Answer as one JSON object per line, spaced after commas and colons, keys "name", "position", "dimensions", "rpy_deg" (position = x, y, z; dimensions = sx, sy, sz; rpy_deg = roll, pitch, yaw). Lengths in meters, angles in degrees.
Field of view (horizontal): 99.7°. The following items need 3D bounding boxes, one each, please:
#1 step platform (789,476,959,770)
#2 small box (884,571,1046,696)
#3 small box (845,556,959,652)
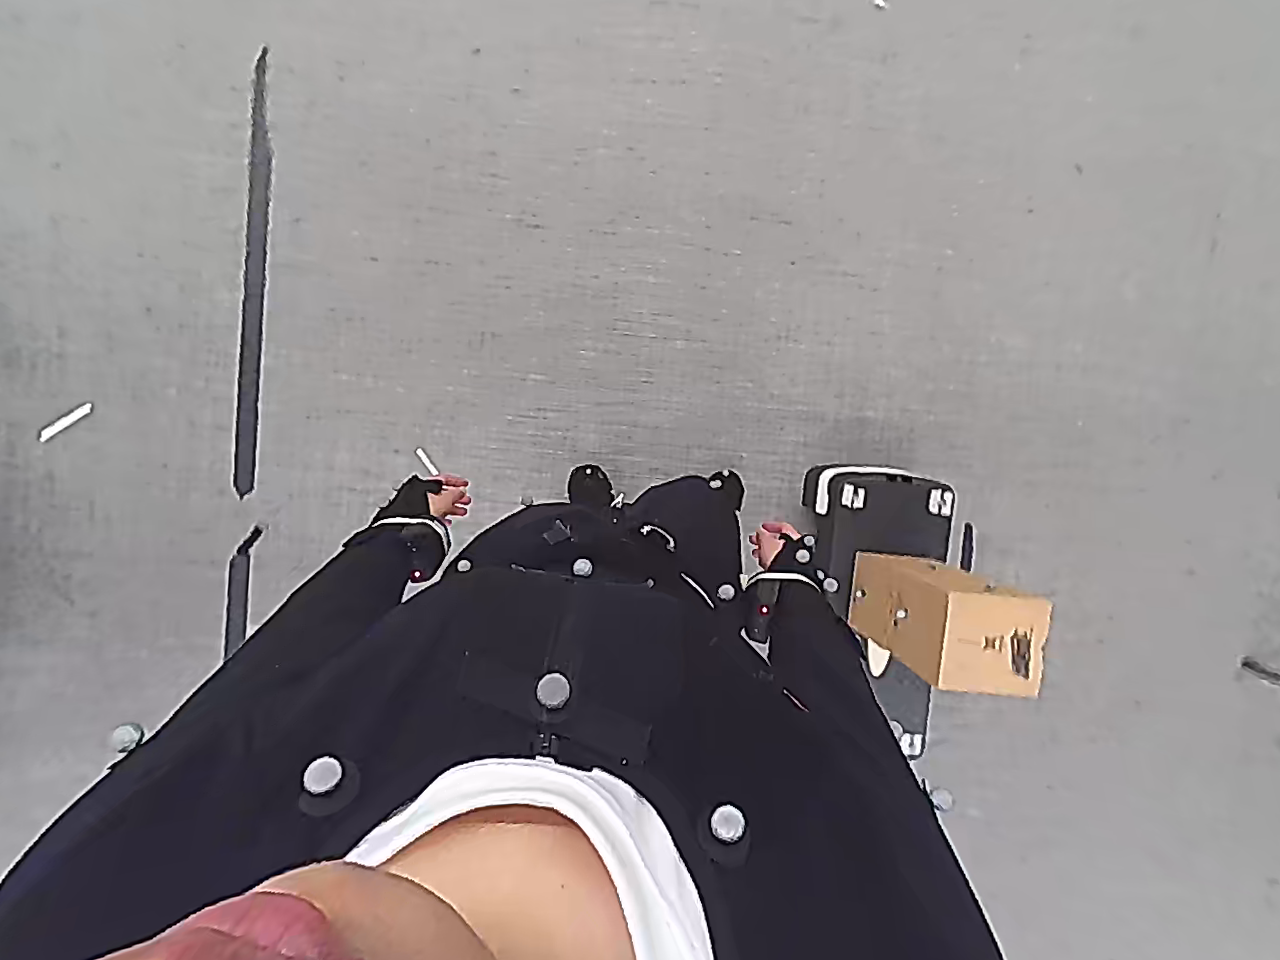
{"name": "step platform", "position": [0.560, 0.335, 1.313], "dimensions": [0.286, 0.204, 0.684], "rpy_deg": [5, 92, -4]}
{"name": "small box", "position": [0.572, 0.267, 0.971], "dimensions": [0.179, 0.176, 0.168], "rpy_deg": [6, 93, -3]}
{"name": "small box", "position": [0.559, 0.260, 1.135], "dimensions": [0.179, 0.176, 0.168], "rpy_deg": [7, 92, -3]}
